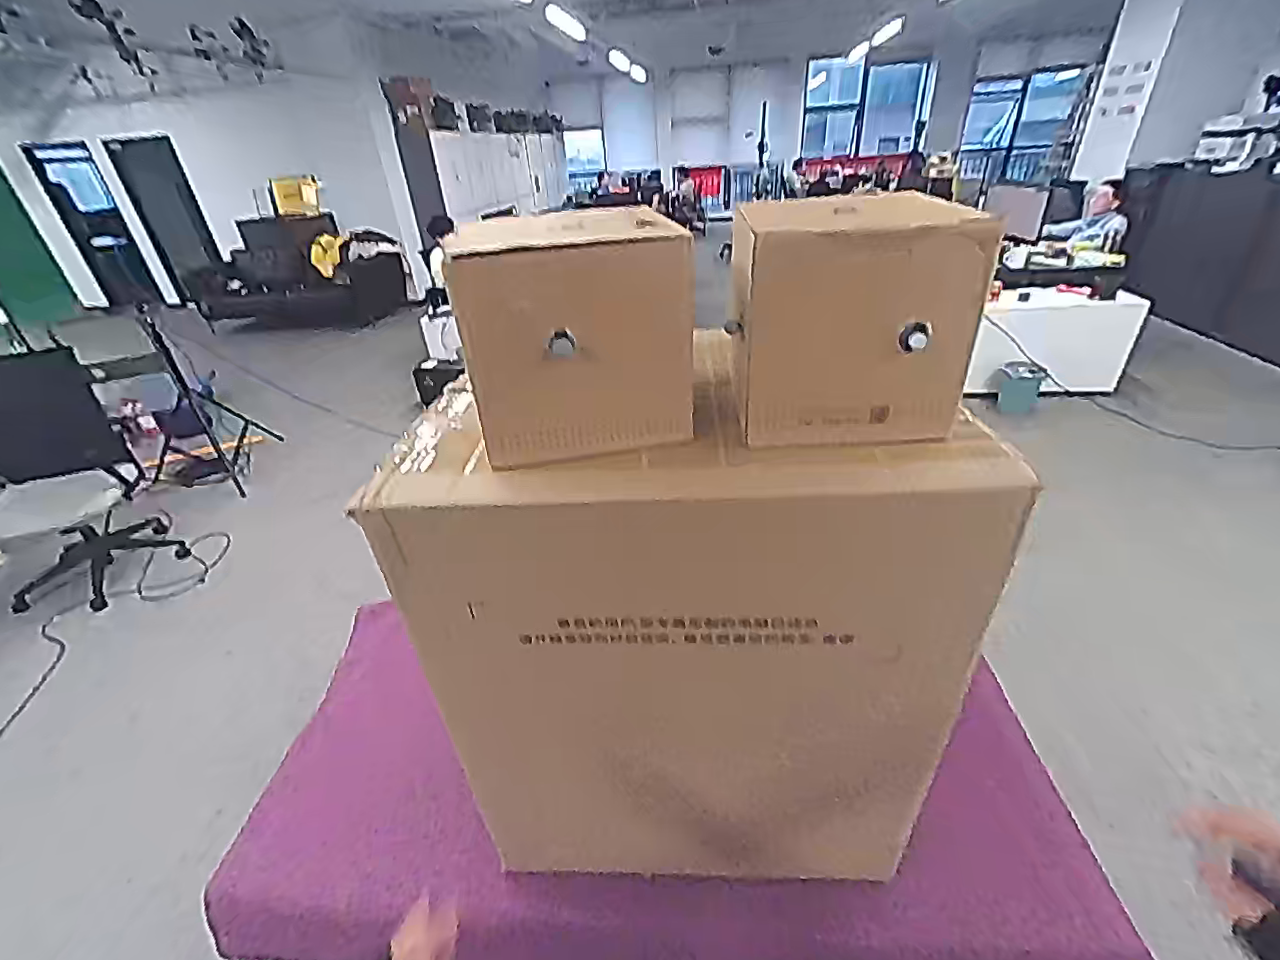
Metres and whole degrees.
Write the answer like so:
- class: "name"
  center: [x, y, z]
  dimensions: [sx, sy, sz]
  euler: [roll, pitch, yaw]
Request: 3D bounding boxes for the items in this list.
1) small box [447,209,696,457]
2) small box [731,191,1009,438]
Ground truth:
- class: "small box"
  center: [-0.053, -0.132, 0.476]
  dimensions: [0.179, 0.176, 0.168]
  euler: [-8, 33, -8]
- class: "small box"
  center: [0.170, -0.144, 0.468]
  dimensions: [0.168, 0.176, 0.179]
  euler: [-1, 31, 4]
